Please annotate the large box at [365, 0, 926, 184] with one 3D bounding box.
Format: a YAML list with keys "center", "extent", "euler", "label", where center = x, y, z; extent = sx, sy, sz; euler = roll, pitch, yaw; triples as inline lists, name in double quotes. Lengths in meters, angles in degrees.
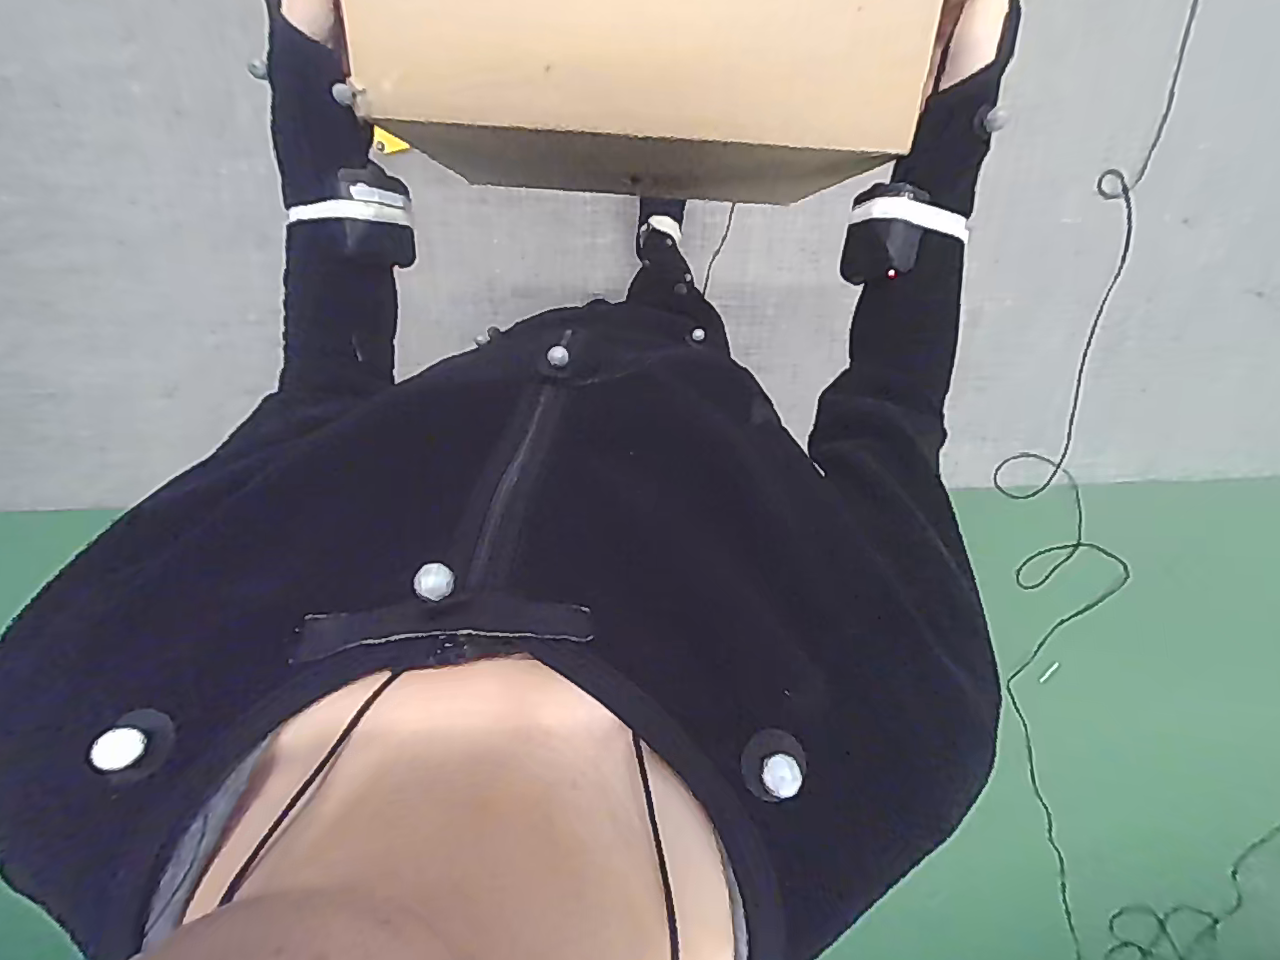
- center: [0.008, -0.465, 0.489]
  extent: [0.408, 0.320, 0.320]
  euler: [3, 112, -3]
  label: "large box"
